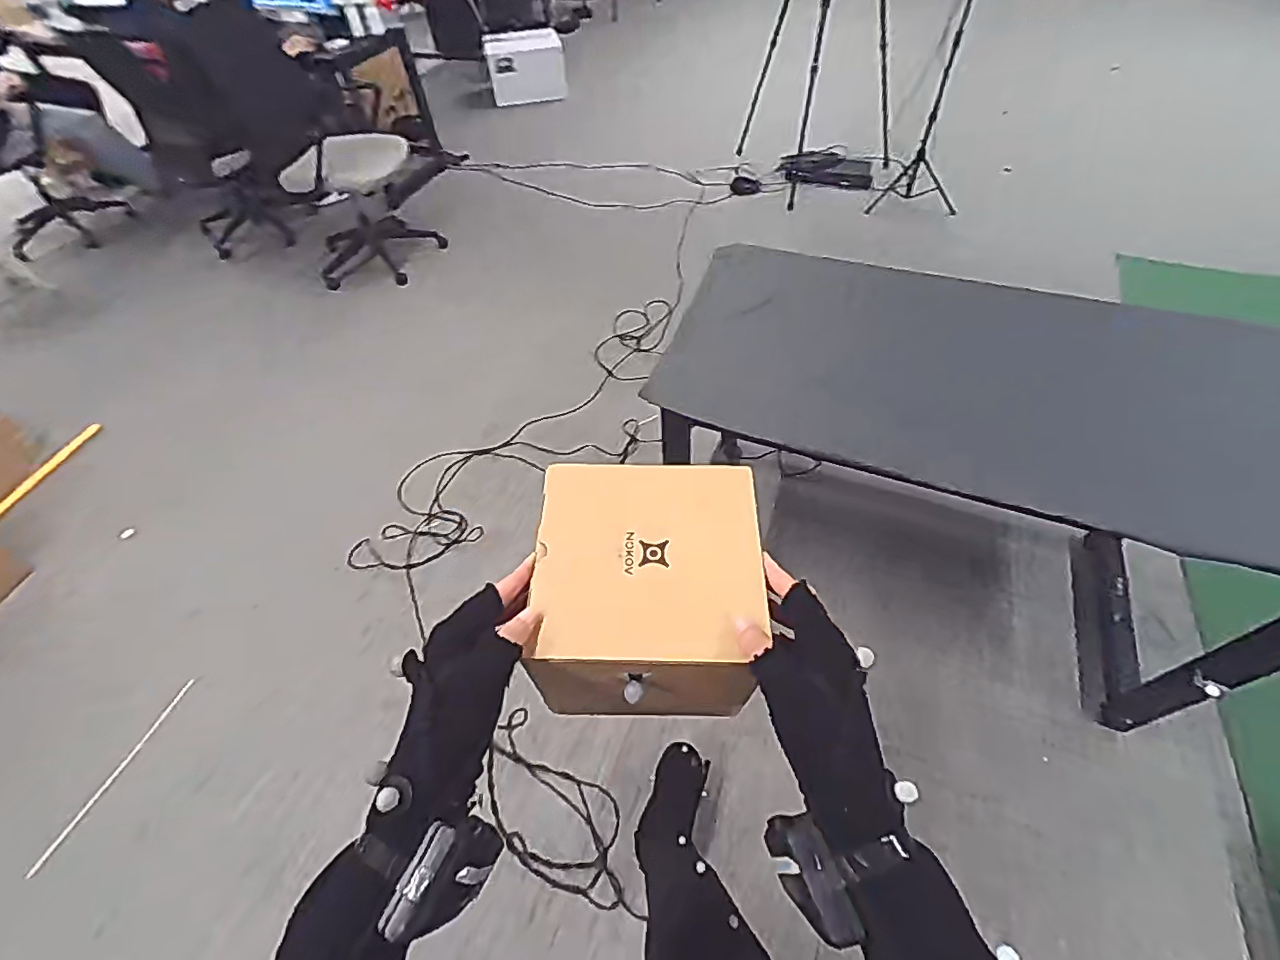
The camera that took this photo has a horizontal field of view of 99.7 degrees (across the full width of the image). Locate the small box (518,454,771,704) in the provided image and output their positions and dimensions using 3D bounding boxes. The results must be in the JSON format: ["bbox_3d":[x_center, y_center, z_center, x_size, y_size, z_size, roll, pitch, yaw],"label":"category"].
[{"bbox_3d":[0.006,0.093,0.477,0.179,0.176,0.168,0,55,2],"label":"small box"}]
